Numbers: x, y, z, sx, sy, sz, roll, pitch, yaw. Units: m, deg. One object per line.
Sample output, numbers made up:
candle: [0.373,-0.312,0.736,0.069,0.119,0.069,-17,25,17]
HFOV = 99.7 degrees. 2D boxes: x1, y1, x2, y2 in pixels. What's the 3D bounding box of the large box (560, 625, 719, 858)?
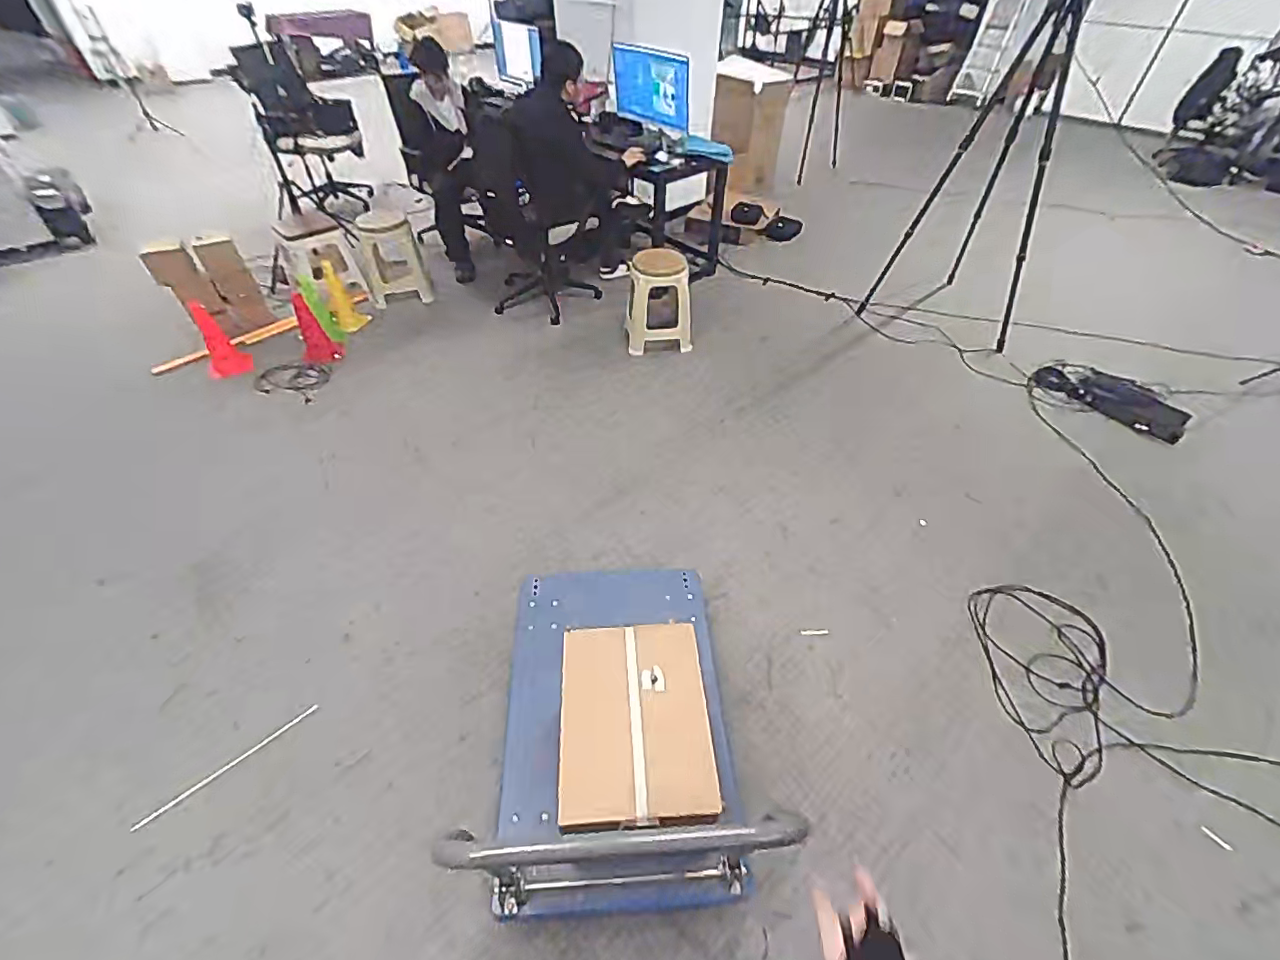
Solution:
large box: [-0.015,0.608,1.273,0.320,0.320,0.408,-2,44,-4]
